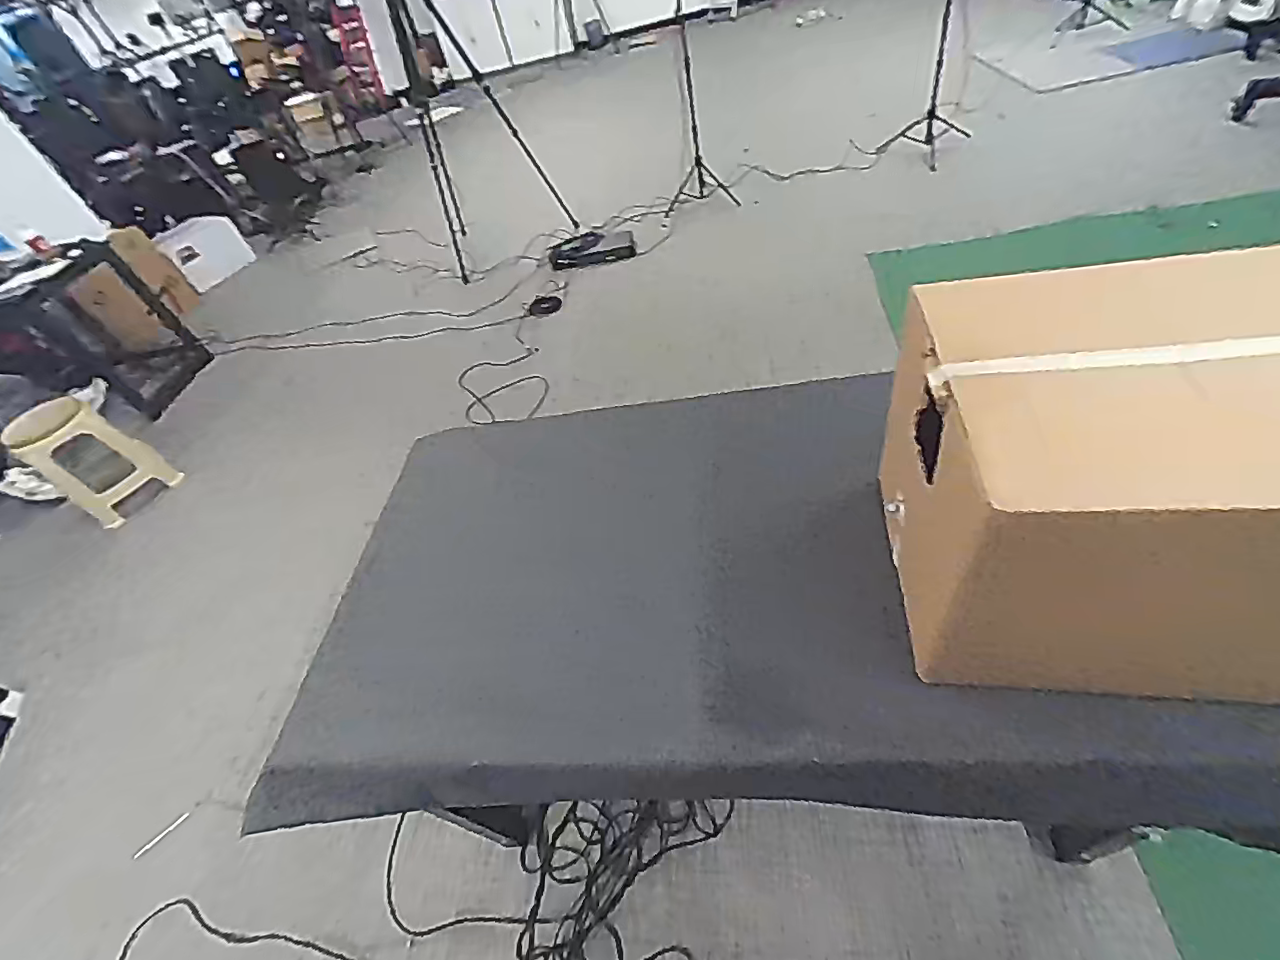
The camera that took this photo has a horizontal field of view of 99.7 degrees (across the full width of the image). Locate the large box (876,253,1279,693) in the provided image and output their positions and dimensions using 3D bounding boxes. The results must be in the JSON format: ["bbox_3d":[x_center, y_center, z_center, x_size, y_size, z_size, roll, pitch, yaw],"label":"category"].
[{"bbox_3d":[0.492,0.002,0.546,0.408,0.320,0.320,-1,48,14],"label":"large box"}]
